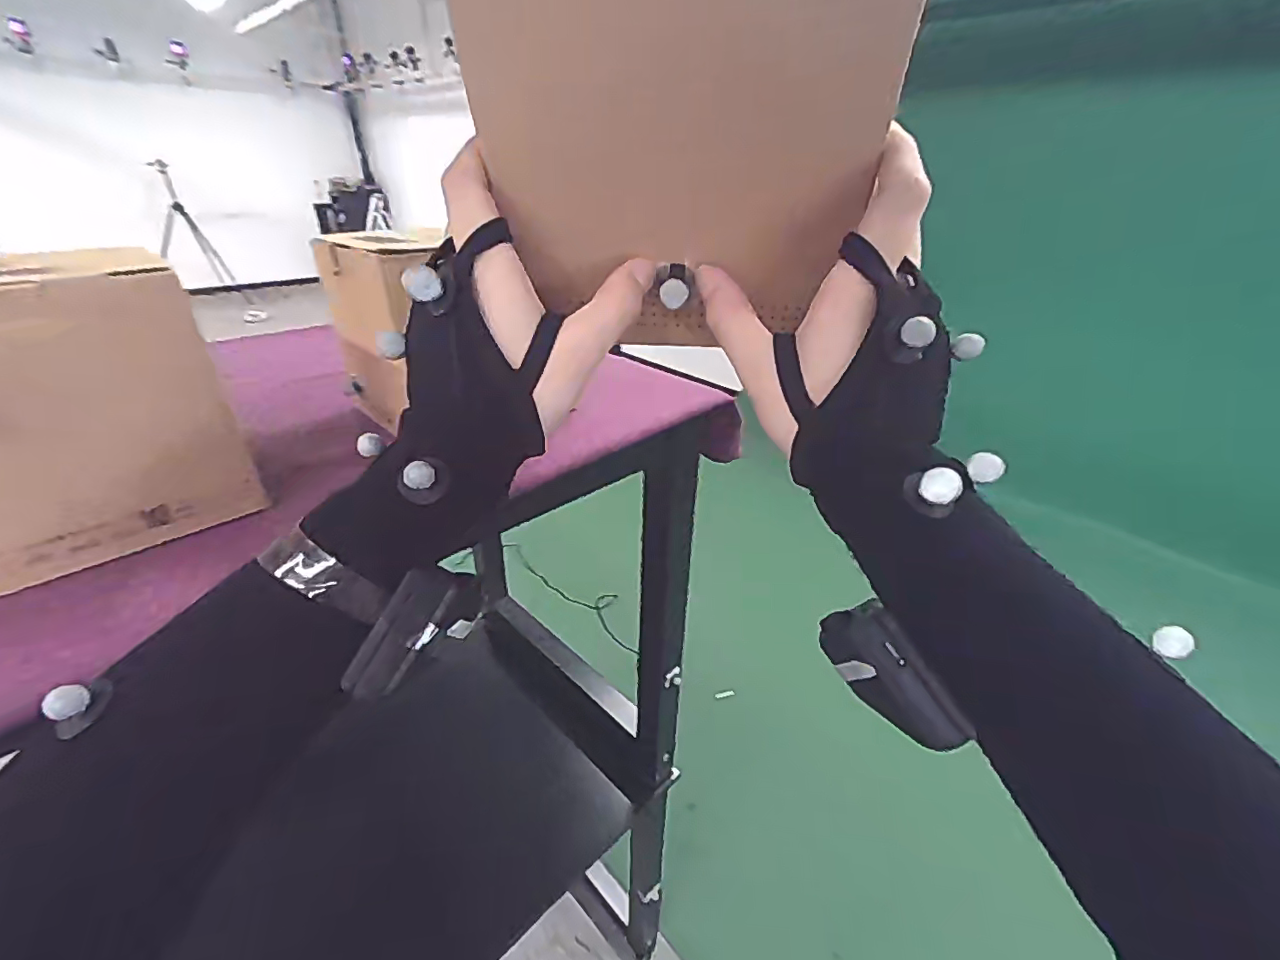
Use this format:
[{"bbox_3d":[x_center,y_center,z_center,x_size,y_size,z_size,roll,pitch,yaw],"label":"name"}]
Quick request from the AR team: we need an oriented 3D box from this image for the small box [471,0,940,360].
[{"bbox_3d":[0.032,-0.185,0.309,0.179,0.176,0.168,4,50,6],"label":"small box"}]

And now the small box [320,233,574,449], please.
[{"bbox_3d":[-0.181,-0.146,0.541,0.179,0.176,0.168,-25,38,-37],"label":"small box"}]
